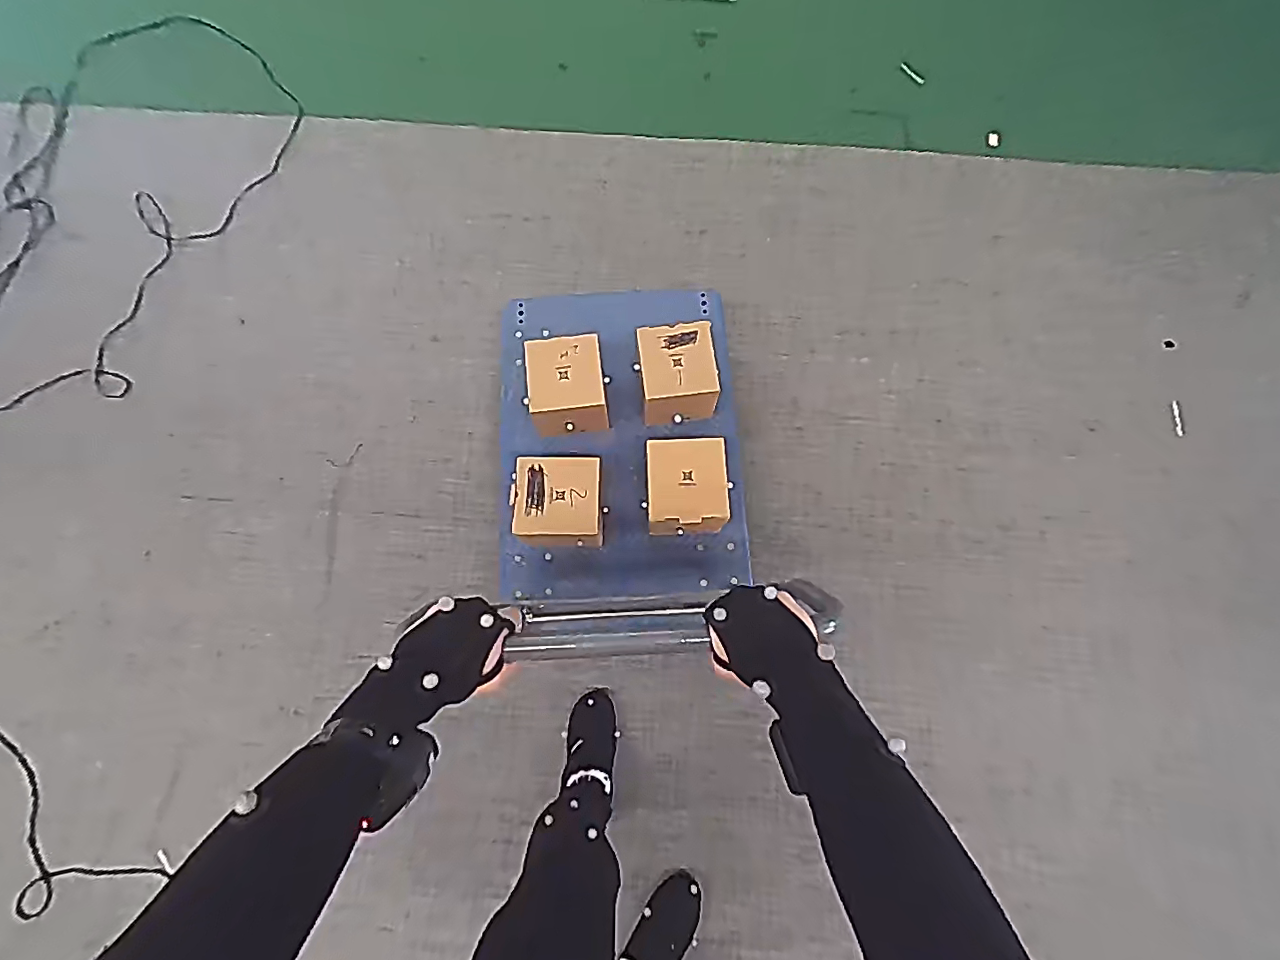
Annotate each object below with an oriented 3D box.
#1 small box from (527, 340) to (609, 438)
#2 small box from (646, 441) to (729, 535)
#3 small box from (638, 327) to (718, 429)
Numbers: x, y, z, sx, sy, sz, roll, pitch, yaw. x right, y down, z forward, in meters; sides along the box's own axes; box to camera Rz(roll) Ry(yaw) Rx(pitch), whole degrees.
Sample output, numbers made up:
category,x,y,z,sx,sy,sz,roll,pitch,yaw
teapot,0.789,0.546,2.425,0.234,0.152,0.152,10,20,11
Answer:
category,x,y,z,sx,sy,sz,roll,pitch,yaw
small box,-0.166,-0.207,1.281,0.168,0.176,0.179,-6,75,-2
small box,0.100,0.023,1.217,0.168,0.176,0.179,-2,75,0
small box,0.084,-0.238,1.288,0.168,0.176,0.179,-7,76,0
